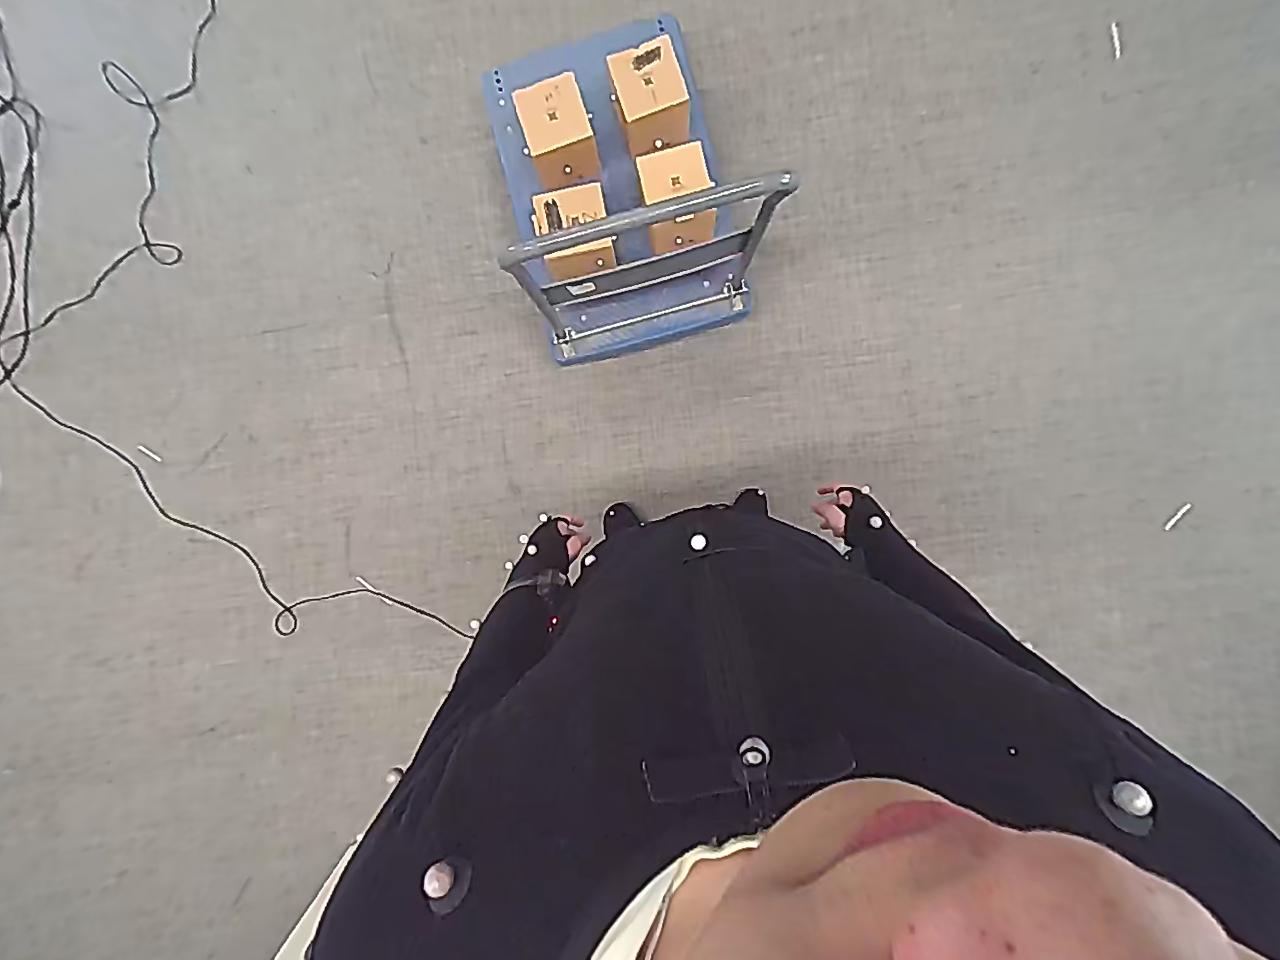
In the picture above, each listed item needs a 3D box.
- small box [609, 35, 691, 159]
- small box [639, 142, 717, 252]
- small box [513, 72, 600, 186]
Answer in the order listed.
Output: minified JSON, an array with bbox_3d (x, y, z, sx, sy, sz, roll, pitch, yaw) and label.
[{"bbox_3d":[0.028,-0.987,1.408,0.168,0.176,0.179,-18,89,4],"label":"small box"},{"bbox_3d":[0.095,-0.725,1.403,0.168,0.176,0.179,-14,89,3],"label":"small box"},{"bbox_3d":[-0.211,-0.907,1.422,0.168,0.176,0.179,-18,88,2],"label":"small box"}]
